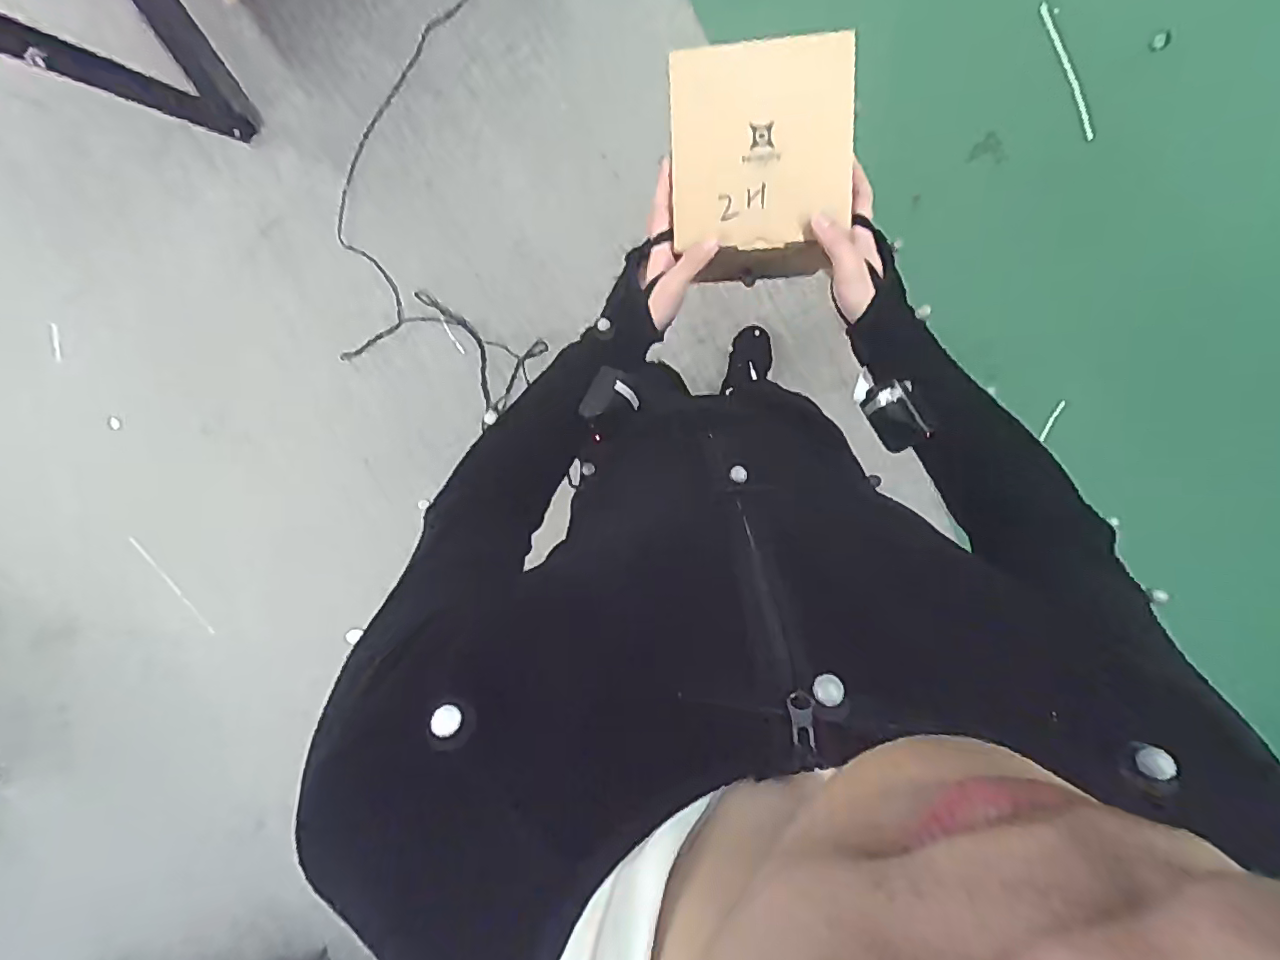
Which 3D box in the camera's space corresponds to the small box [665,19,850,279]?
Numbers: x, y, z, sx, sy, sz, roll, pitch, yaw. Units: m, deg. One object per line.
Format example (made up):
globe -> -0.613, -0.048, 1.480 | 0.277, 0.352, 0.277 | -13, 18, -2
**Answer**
small box -> 0.114, -0.324, 0.567 | 0.168, 0.176, 0.179 | -2, 99, 8
